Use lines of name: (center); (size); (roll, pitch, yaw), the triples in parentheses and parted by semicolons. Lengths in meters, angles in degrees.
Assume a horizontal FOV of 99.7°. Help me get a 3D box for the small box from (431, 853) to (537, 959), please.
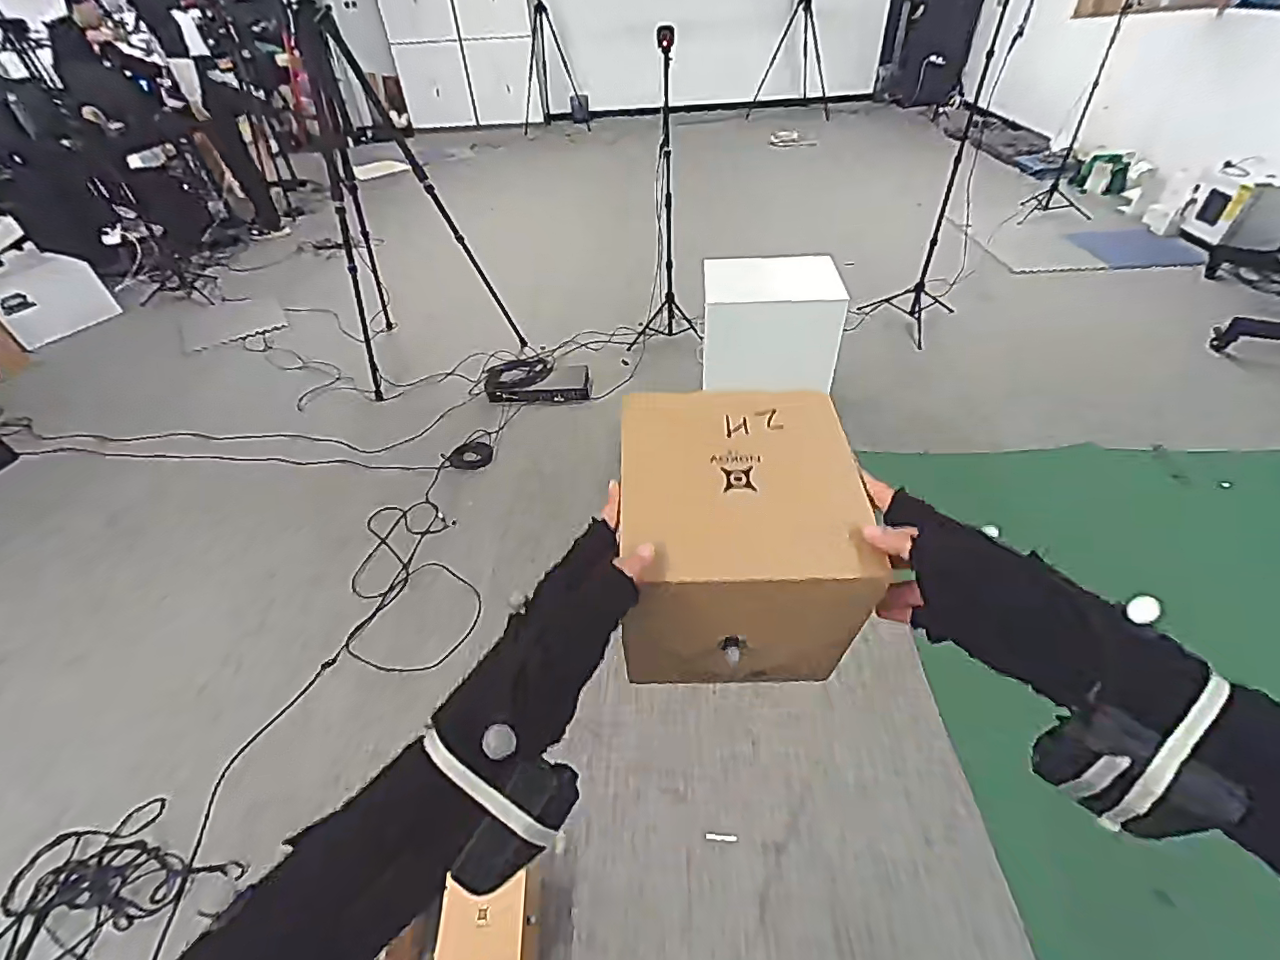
small box: (-0.311, 0.899, 1.115); (0.168, 0.176, 0.179); (-5, 45, -1)
